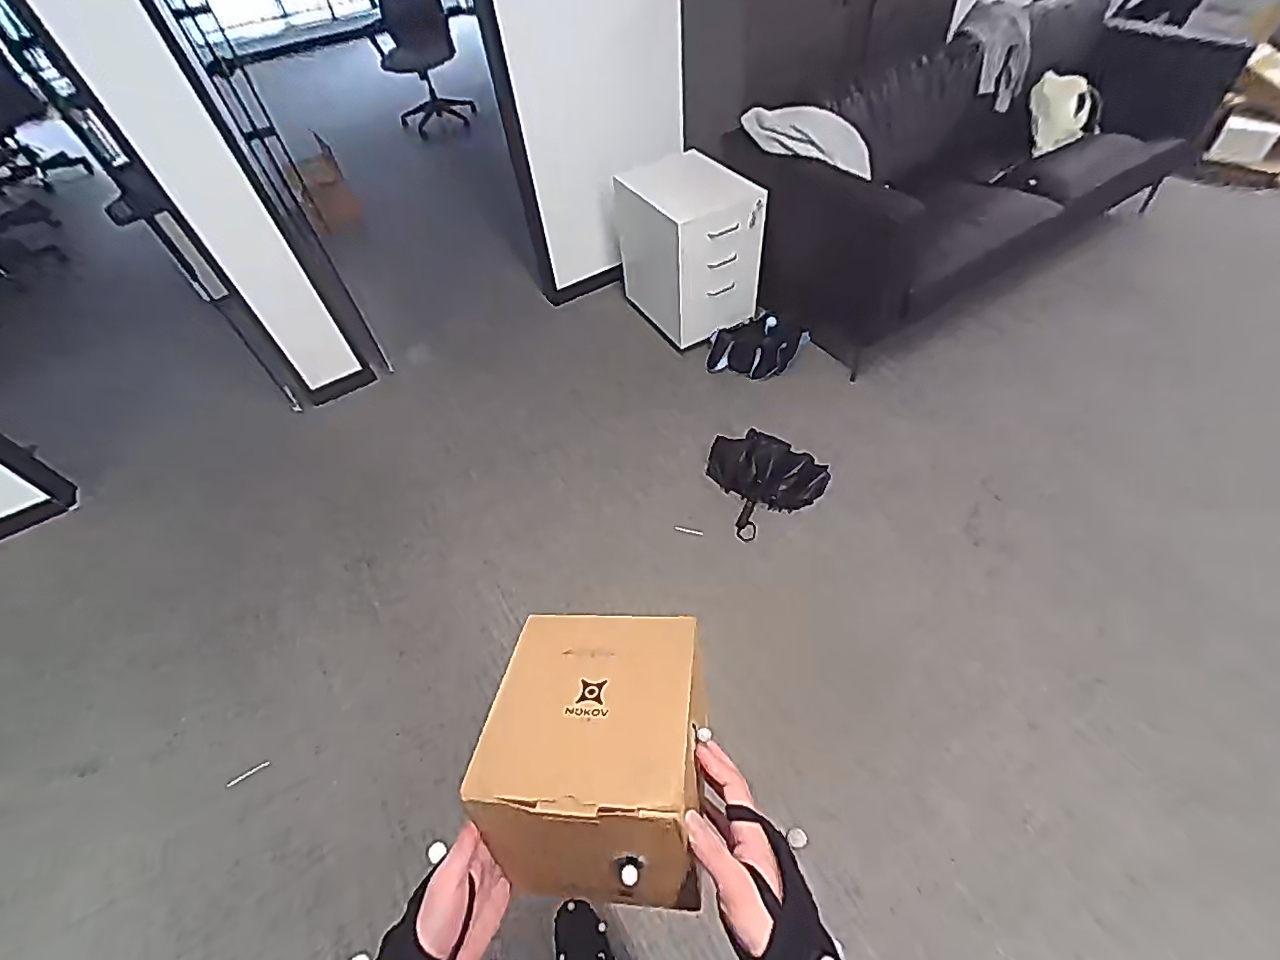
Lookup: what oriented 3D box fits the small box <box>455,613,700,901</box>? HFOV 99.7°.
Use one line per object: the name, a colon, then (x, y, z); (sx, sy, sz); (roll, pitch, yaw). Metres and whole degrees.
small box: (-0.035, 0.243, 0.489); (0.168, 0.176, 0.179); (-1, 33, 10)
